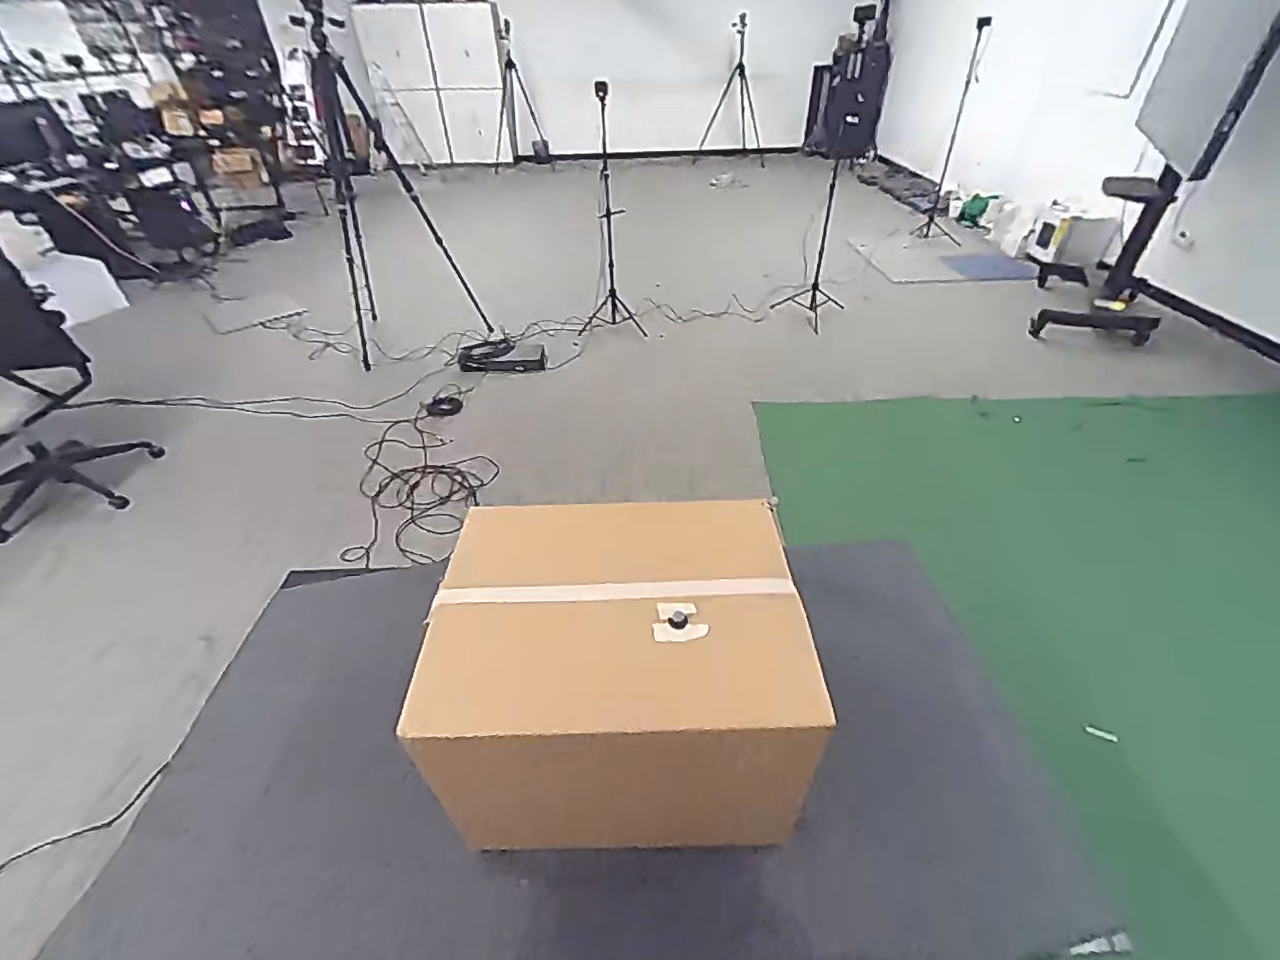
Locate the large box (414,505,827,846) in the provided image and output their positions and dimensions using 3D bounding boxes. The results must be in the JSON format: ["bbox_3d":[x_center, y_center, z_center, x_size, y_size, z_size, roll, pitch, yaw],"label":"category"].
[{"bbox_3d":[-0.022,0.252,0.719,0.408,0.320,0.320,-1,40,-1],"label":"large box"}]
